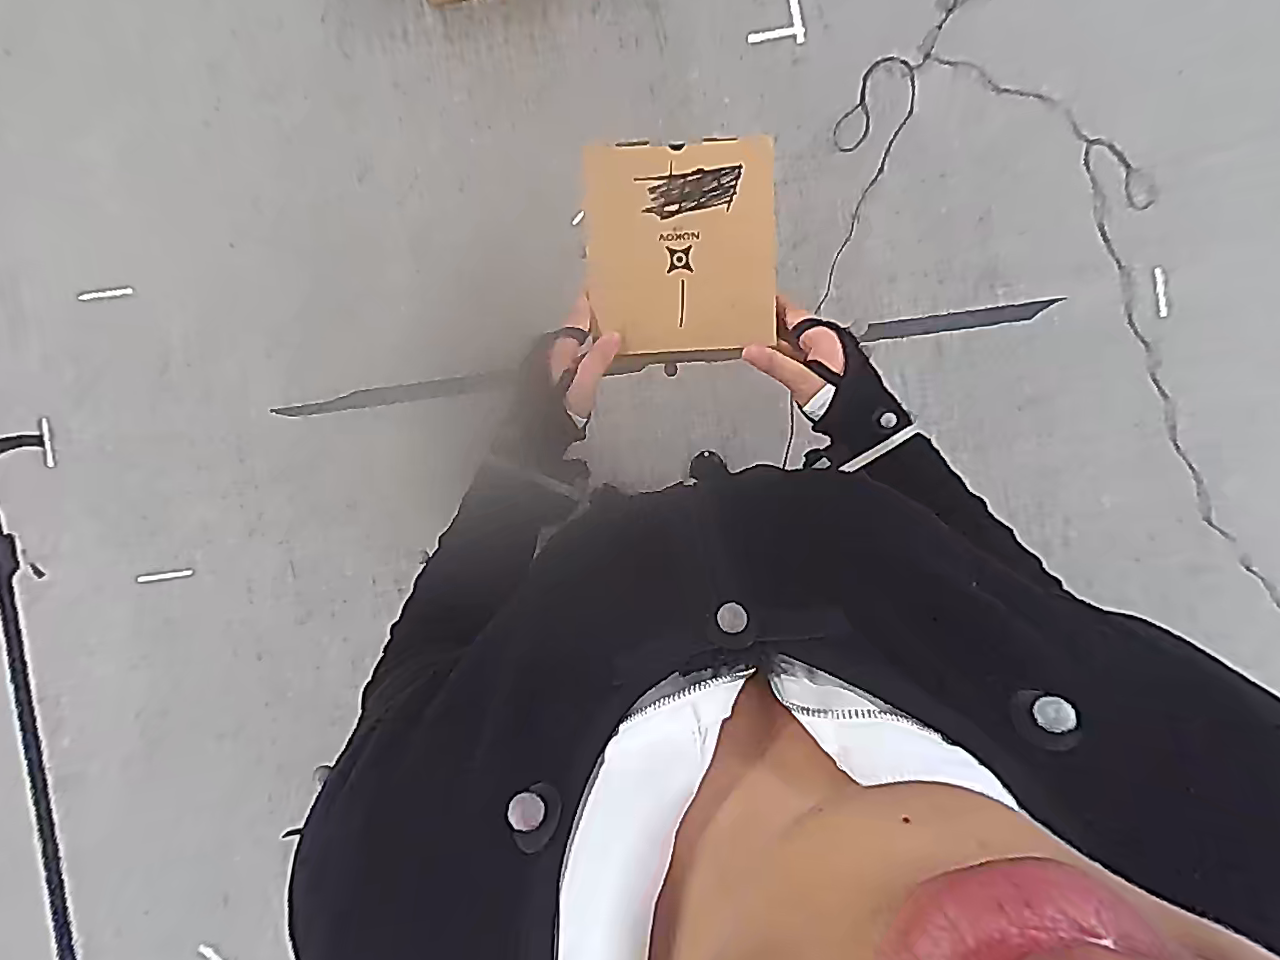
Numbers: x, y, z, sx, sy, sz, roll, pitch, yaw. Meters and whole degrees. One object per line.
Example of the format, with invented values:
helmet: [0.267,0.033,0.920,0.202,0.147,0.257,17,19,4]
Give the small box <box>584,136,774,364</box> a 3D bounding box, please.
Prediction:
small box: [0.034,-0.216,0.550,0.168,0.176,0.179,-3,99,0]

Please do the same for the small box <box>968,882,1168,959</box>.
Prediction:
small box: [0.564,0.668,0.706,0.168,0.176,0.179,-11,91,1]
